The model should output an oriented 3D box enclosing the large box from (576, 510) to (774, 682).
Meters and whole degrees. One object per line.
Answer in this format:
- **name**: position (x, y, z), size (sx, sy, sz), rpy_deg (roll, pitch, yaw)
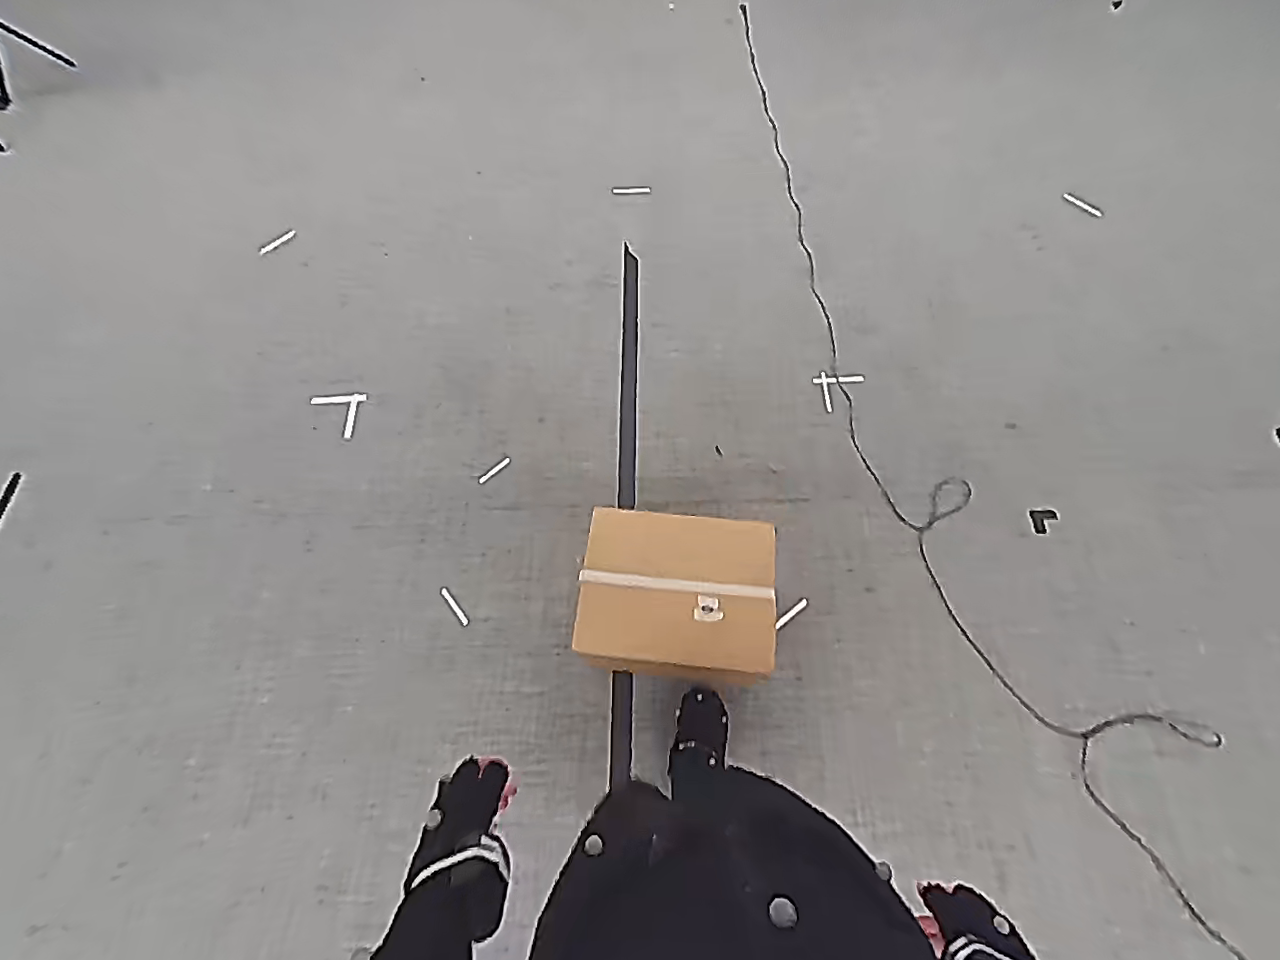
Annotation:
- **large box**: position (0.083, 0.282, 1.267), size (0.408, 0.320, 0.320), rpy_deg (5, 66, 4)
